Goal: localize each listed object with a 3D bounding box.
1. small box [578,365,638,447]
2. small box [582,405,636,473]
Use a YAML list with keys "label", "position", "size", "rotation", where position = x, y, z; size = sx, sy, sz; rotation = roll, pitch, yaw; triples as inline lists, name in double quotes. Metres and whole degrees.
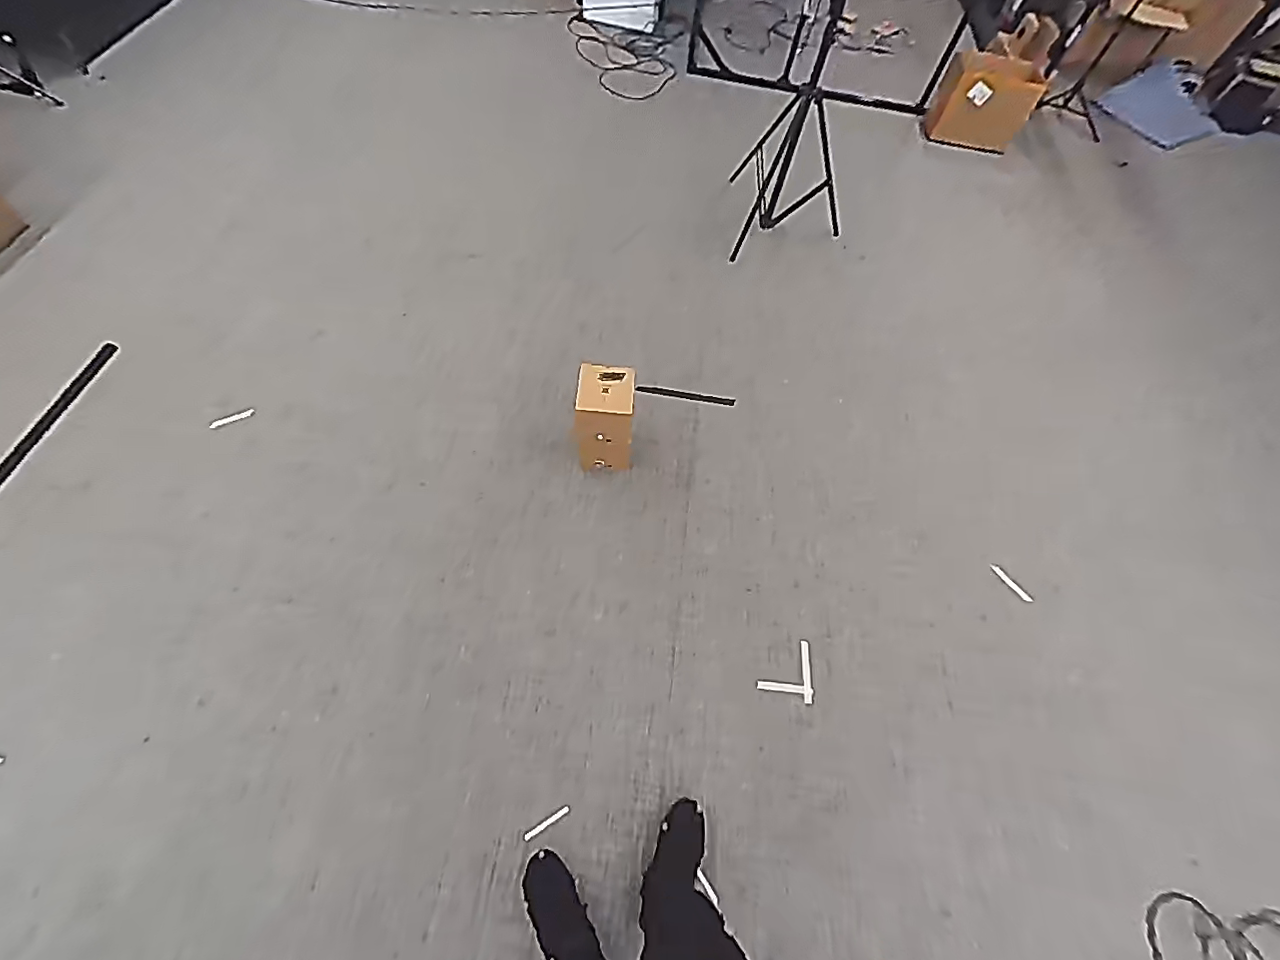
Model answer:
- label: "small box"
  position: [-0.099, -0.223, 1.653]
  size: [0.168, 0.176, 0.179]
  rotation: [5, 61, -2]
- label: "small box"
  position: [-0.106, -0.146, 1.797]
  size: [0.168, 0.176, 0.179]
  rotation: [4, 60, -3]
